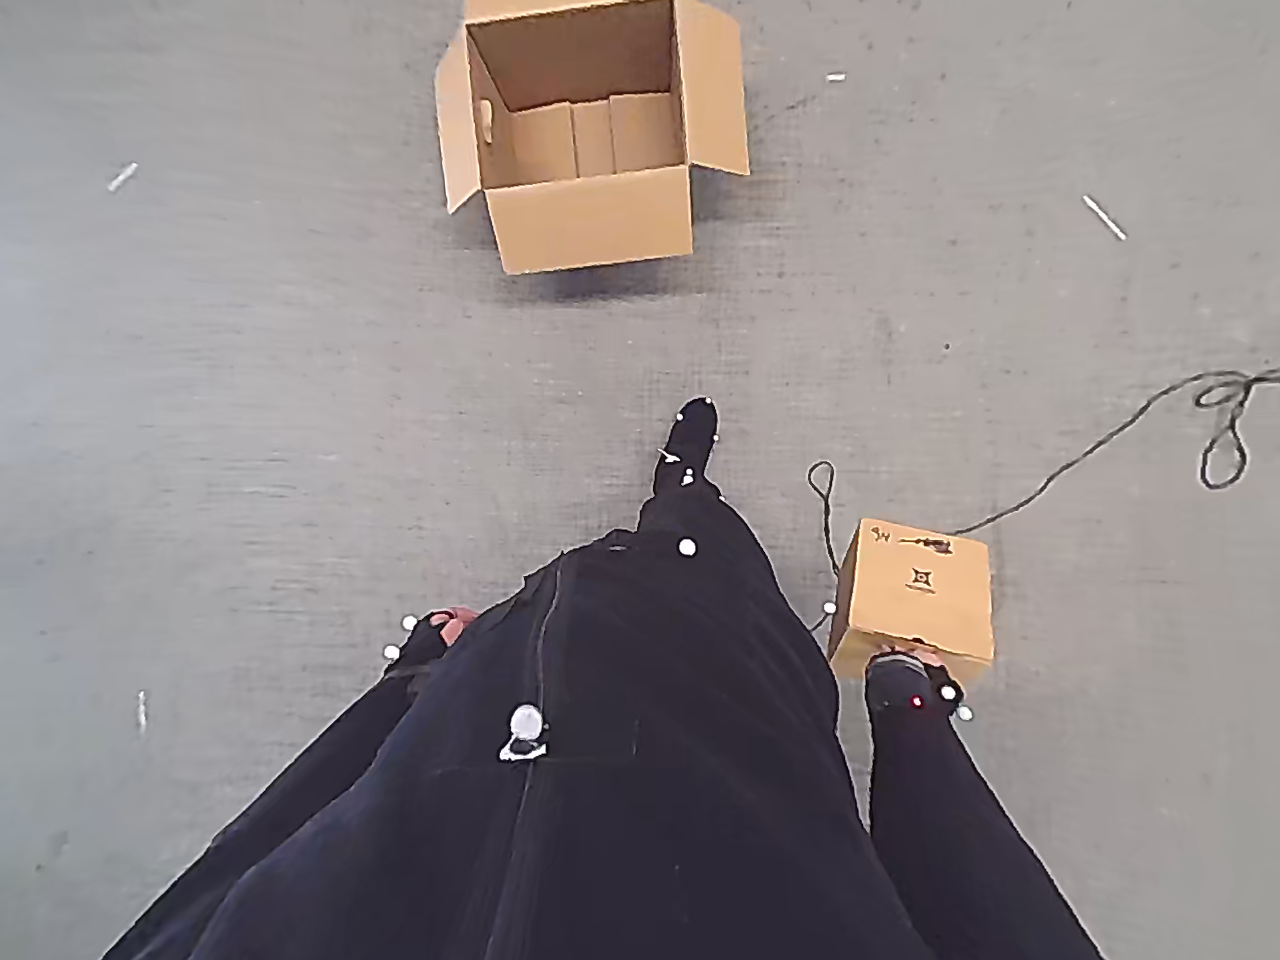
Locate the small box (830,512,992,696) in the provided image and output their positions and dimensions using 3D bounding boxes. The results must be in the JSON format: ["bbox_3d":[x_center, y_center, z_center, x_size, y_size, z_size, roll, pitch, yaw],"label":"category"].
[{"bbox_3d":[0.373,0.177,0.762,0.168,0.176,0.179,13,53,17],"label":"small box"}]
